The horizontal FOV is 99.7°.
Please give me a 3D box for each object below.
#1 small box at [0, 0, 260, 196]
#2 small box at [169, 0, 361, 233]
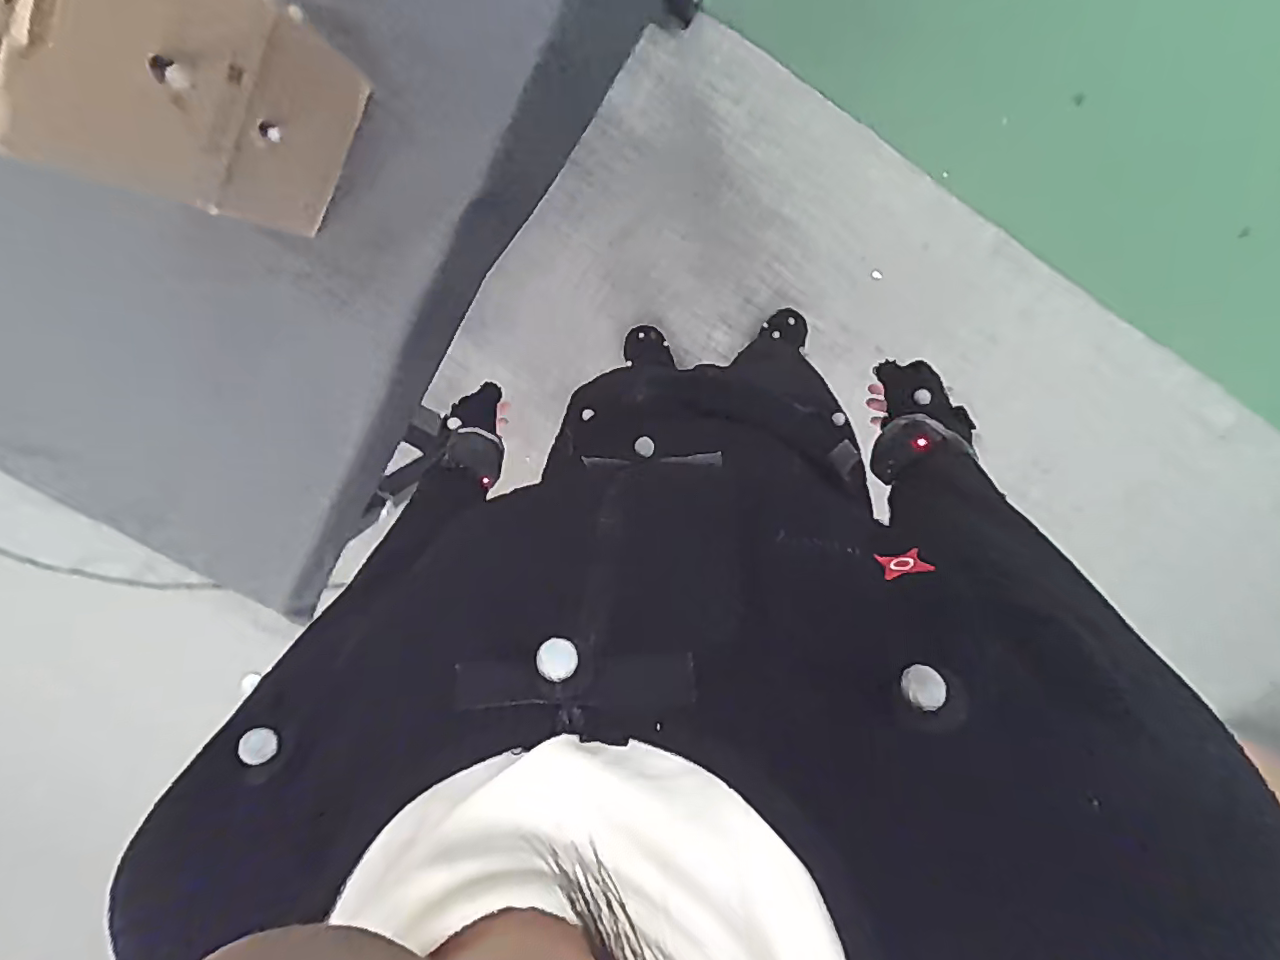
[{"bbox_3d":[-0.399,-0.311,0.350,0.179,0.176,0.168,29,105,-7],"label":"small box"},{"bbox_3d":[-0.399,-0.360,0.506,0.168,0.176,0.179,29,104,-7],"label":"small box"}]
